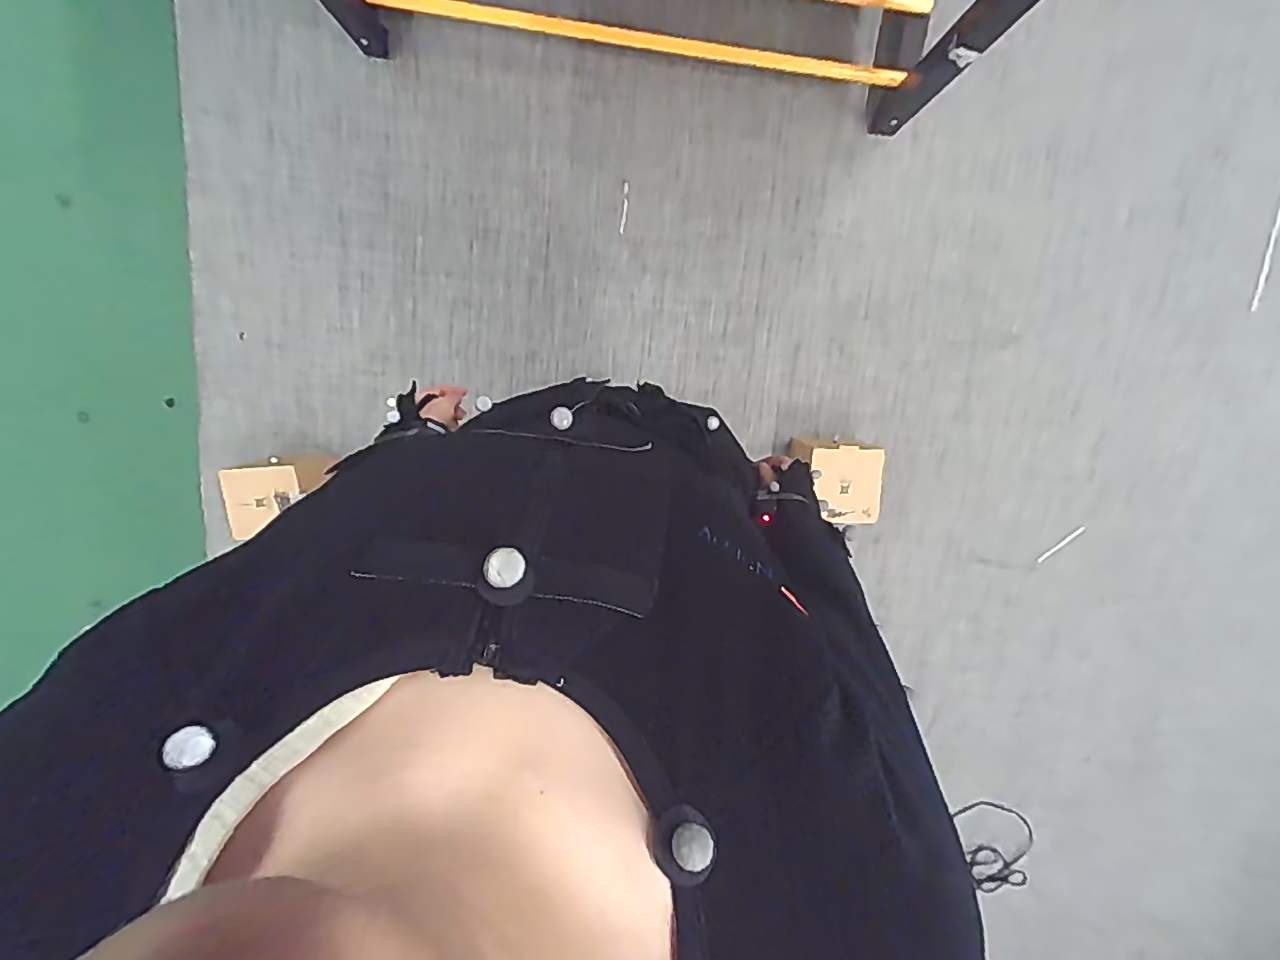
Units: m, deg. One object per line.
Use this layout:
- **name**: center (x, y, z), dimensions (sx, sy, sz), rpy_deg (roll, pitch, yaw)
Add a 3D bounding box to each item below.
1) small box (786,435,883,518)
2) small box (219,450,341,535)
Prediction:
- **small box**: center (0.456, -0.014, 1.292), dimensions (0.168, 0.176, 0.179), rpy_deg (1, 101, -1)
- **small box**: center (-0.836, 0.023, 1.281), dimensions (0.179, 0.176, 0.168), rpy_deg (-3, 102, 1)
